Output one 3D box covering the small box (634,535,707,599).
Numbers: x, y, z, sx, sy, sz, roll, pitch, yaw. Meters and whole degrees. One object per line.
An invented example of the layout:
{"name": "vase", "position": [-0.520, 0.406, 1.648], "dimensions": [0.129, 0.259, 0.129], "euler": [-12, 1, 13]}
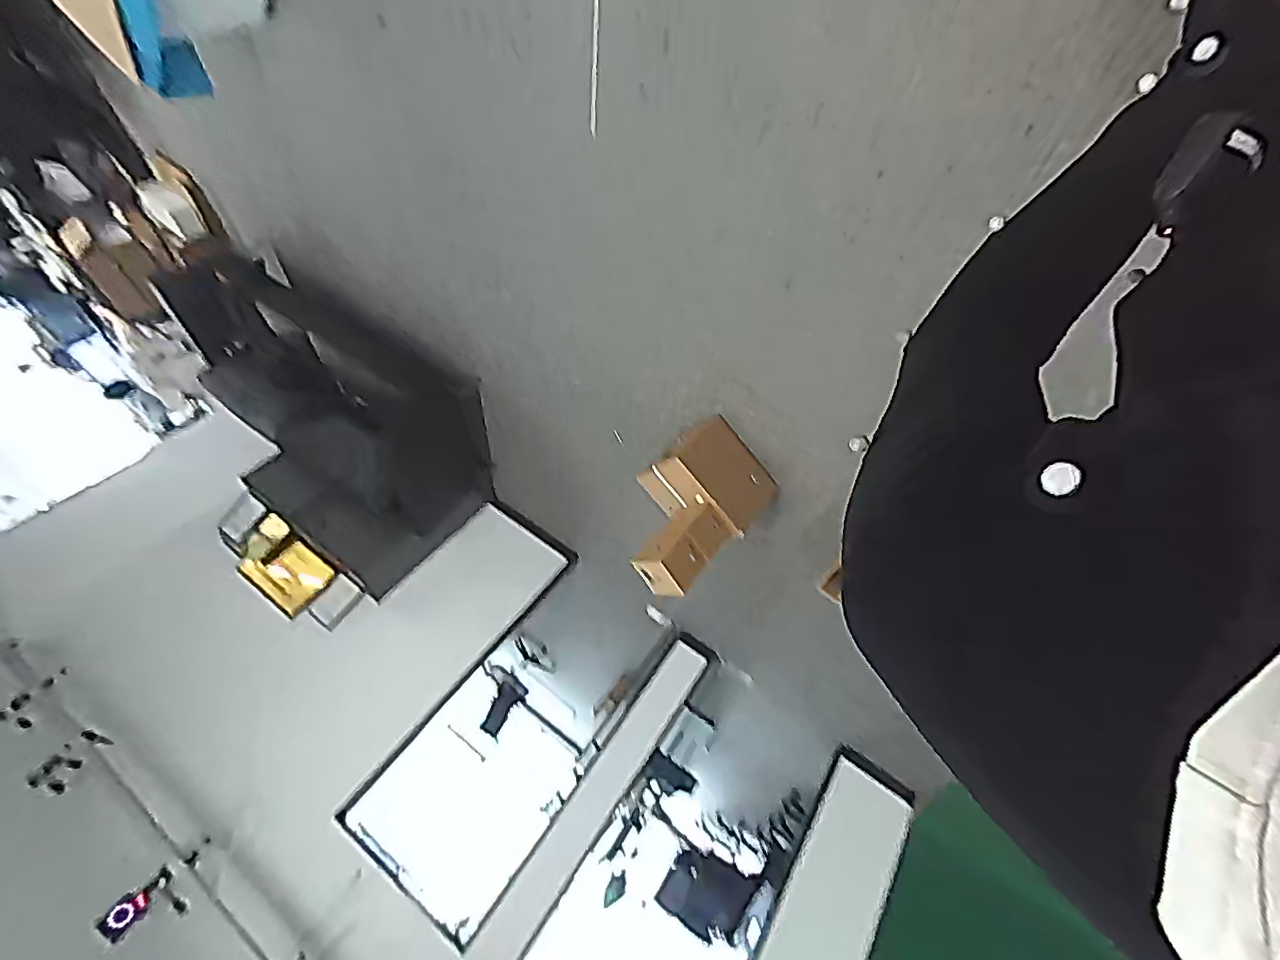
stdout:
{"name": "small box", "position": [0.116, 0.319, 2.004], "dimensions": [0.179, 0.176, 0.168], "euler": [-12, 119, 50]}
